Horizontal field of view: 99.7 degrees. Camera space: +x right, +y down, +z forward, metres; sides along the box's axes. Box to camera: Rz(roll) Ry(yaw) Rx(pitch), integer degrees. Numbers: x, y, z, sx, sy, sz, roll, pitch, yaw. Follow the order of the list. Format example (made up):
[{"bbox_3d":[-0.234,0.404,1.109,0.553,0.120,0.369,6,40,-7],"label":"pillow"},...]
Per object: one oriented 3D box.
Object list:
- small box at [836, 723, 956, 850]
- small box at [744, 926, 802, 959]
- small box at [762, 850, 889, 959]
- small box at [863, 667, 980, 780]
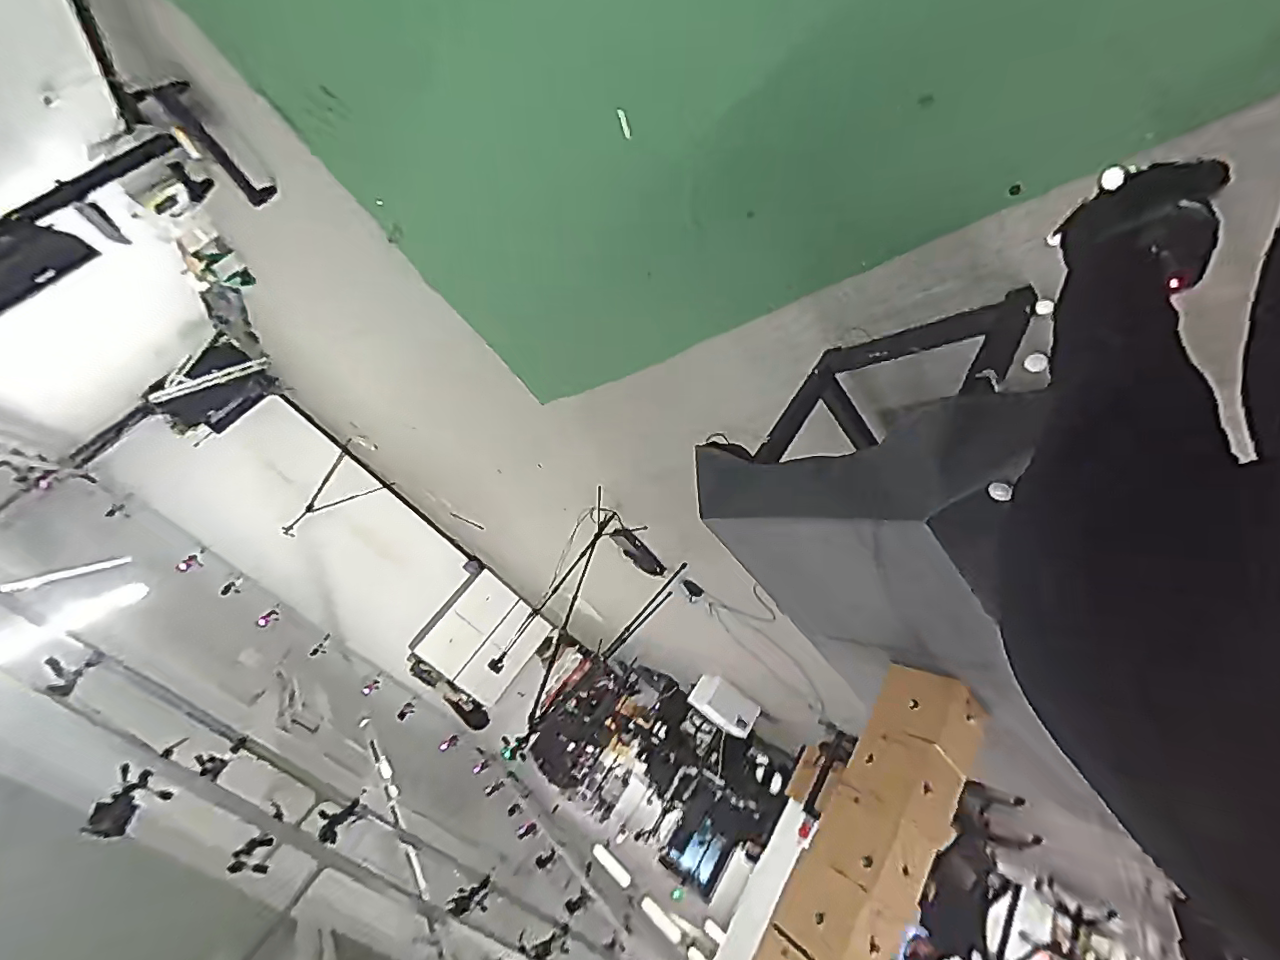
[{"bbox_3d":[0.598,0.704,1.262,0.179,0.176,0.168,48,155,-19],"label":"small box"},{"bbox_3d":[0.305,1.055,1.078,0.179,0.176,0.168,48,155,-21],"label":"small box"},{"bbox_3d":[0.401,0.938,1.148,0.168,0.176,0.179,48,155,-20],"label":"small box"},{"bbox_3d":[0.691,0.585,1.324,0.168,0.176,0.179,49,153,-22],"label":"small box"}]
